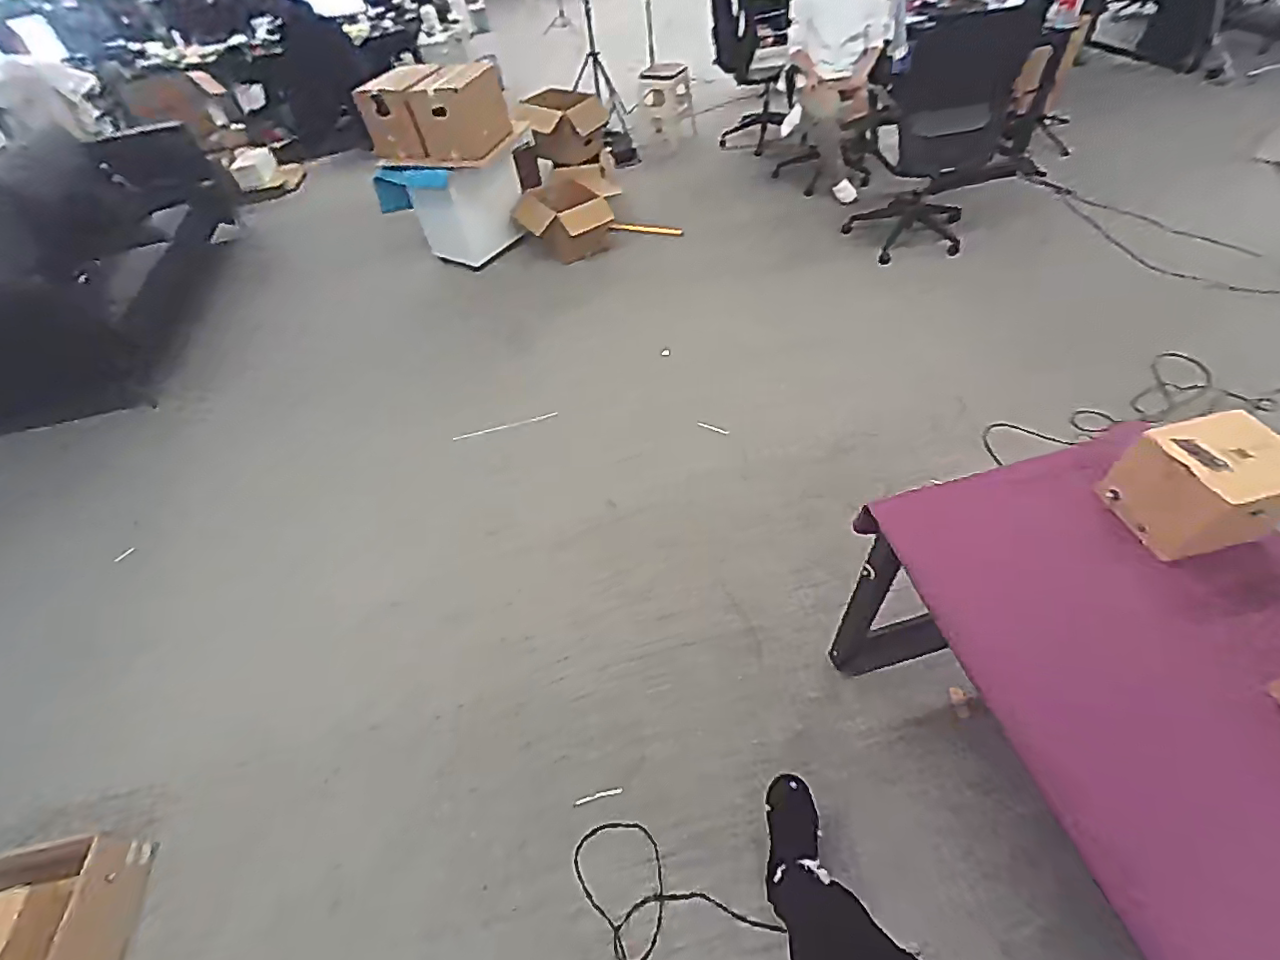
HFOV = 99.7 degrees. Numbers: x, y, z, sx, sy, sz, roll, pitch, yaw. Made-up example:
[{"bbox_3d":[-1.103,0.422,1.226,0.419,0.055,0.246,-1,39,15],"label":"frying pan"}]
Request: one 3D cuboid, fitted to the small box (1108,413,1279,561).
[{"bbox_3d":[0.953,0.018,0.915,0.179,0.176,0.168,-13,50,-2],"label":"small box"}]
